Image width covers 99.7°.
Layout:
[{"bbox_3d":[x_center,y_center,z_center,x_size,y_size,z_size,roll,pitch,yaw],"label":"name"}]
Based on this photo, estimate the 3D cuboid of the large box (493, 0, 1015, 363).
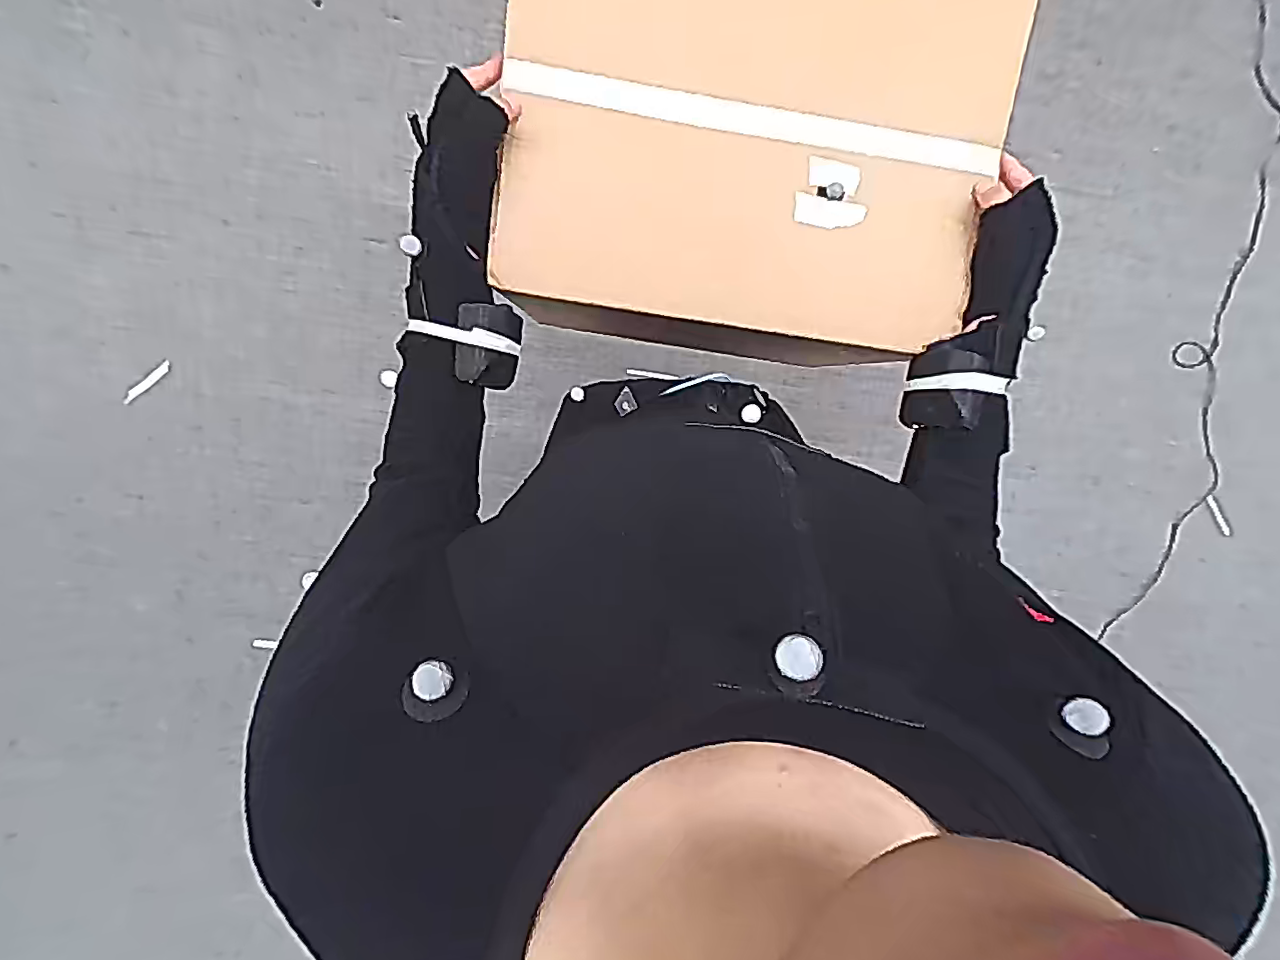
[{"bbox_3d":[0.078,-0.310,0.588,0.408,0.320,0.320,7,101,-6],"label":"large box"}]
